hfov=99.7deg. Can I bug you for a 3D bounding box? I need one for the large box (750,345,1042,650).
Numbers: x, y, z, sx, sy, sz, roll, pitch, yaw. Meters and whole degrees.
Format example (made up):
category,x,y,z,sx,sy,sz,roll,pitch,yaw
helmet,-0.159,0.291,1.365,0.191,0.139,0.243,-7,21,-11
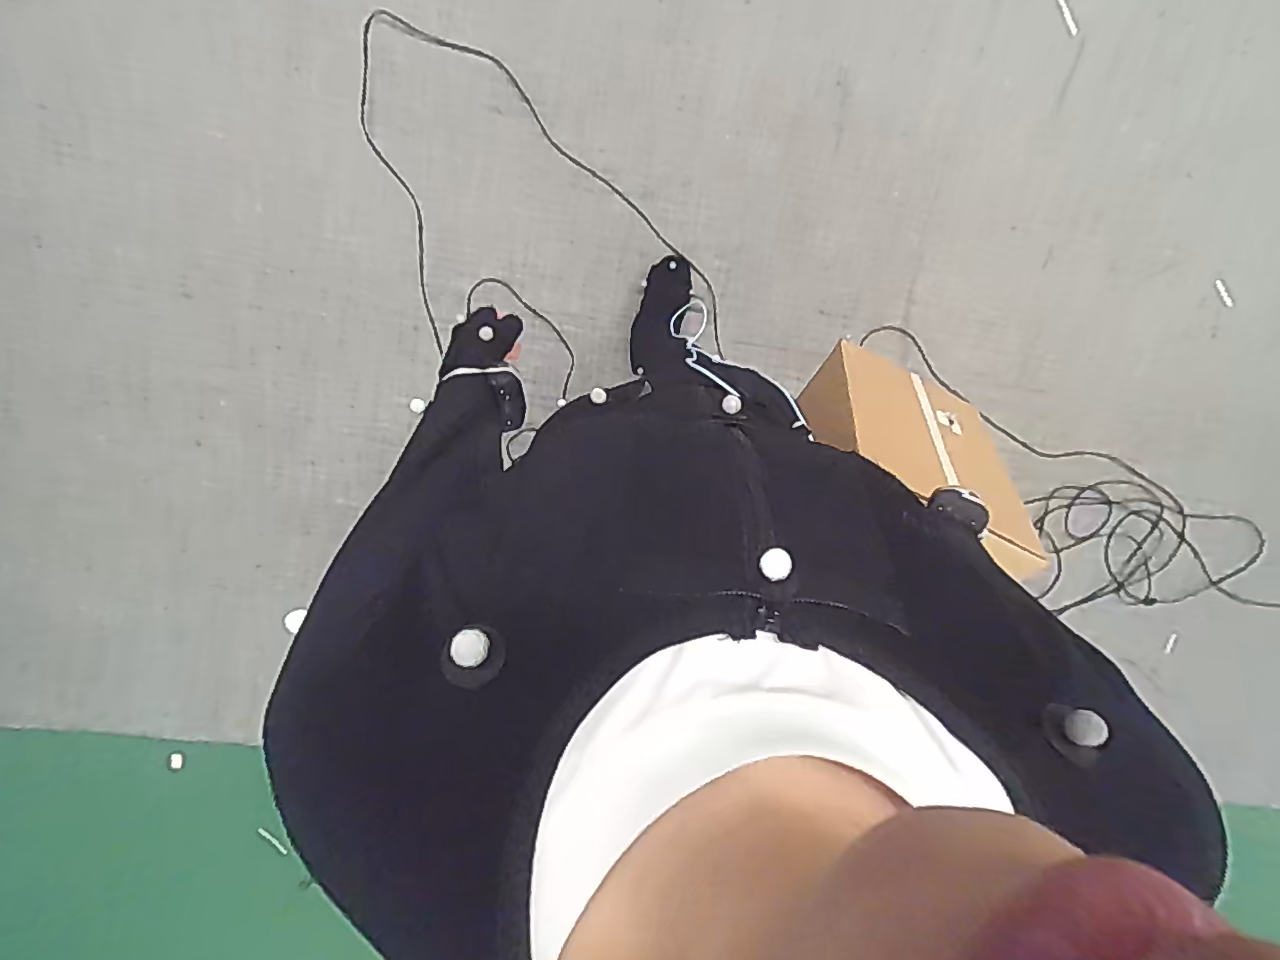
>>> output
category,x,y,z,sx,sy,sz,roll,pitch,yaw
large box,0.416,0.027,0.994,0.320,0.408,0.320,26,131,-7
